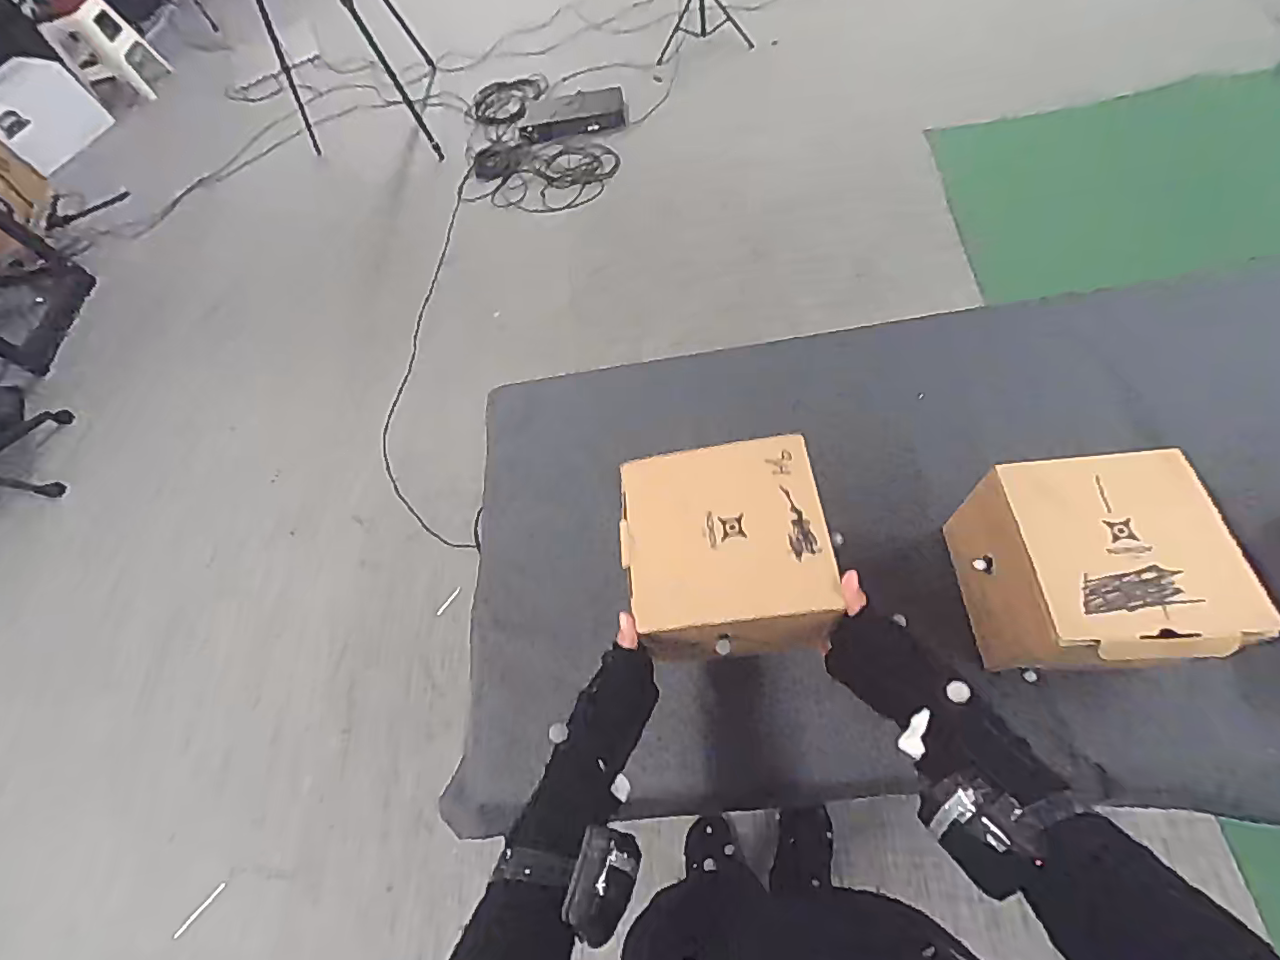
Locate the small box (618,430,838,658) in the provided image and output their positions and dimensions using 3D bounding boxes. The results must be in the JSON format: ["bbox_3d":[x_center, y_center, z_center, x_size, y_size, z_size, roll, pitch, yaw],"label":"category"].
[{"bbox_3d":[0.084,0.075,0.542,0.179,0.176,0.168,-9,61,8],"label":"small box"}]

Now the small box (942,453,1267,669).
[{"bbox_3d":[0.440,0.095,0.556,0.168,0.176,0.179,-5,61,8],"label":"small box"}]
